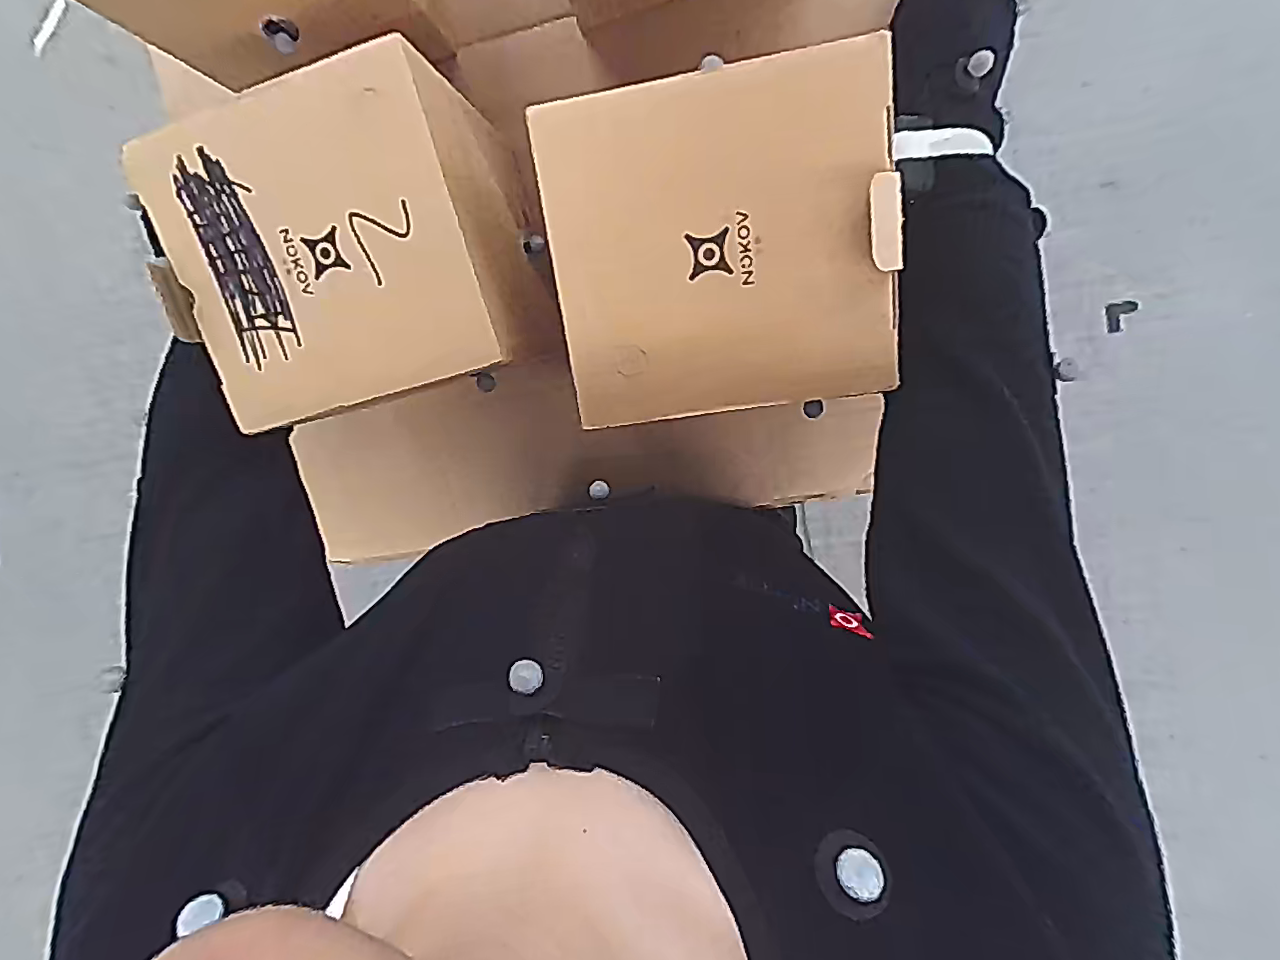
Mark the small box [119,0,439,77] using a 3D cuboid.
[{"bbox_3d":[-0.250,-0.388,0.331,0.168,0.176,0.179,-10,101,9],"label":"small box"}]
